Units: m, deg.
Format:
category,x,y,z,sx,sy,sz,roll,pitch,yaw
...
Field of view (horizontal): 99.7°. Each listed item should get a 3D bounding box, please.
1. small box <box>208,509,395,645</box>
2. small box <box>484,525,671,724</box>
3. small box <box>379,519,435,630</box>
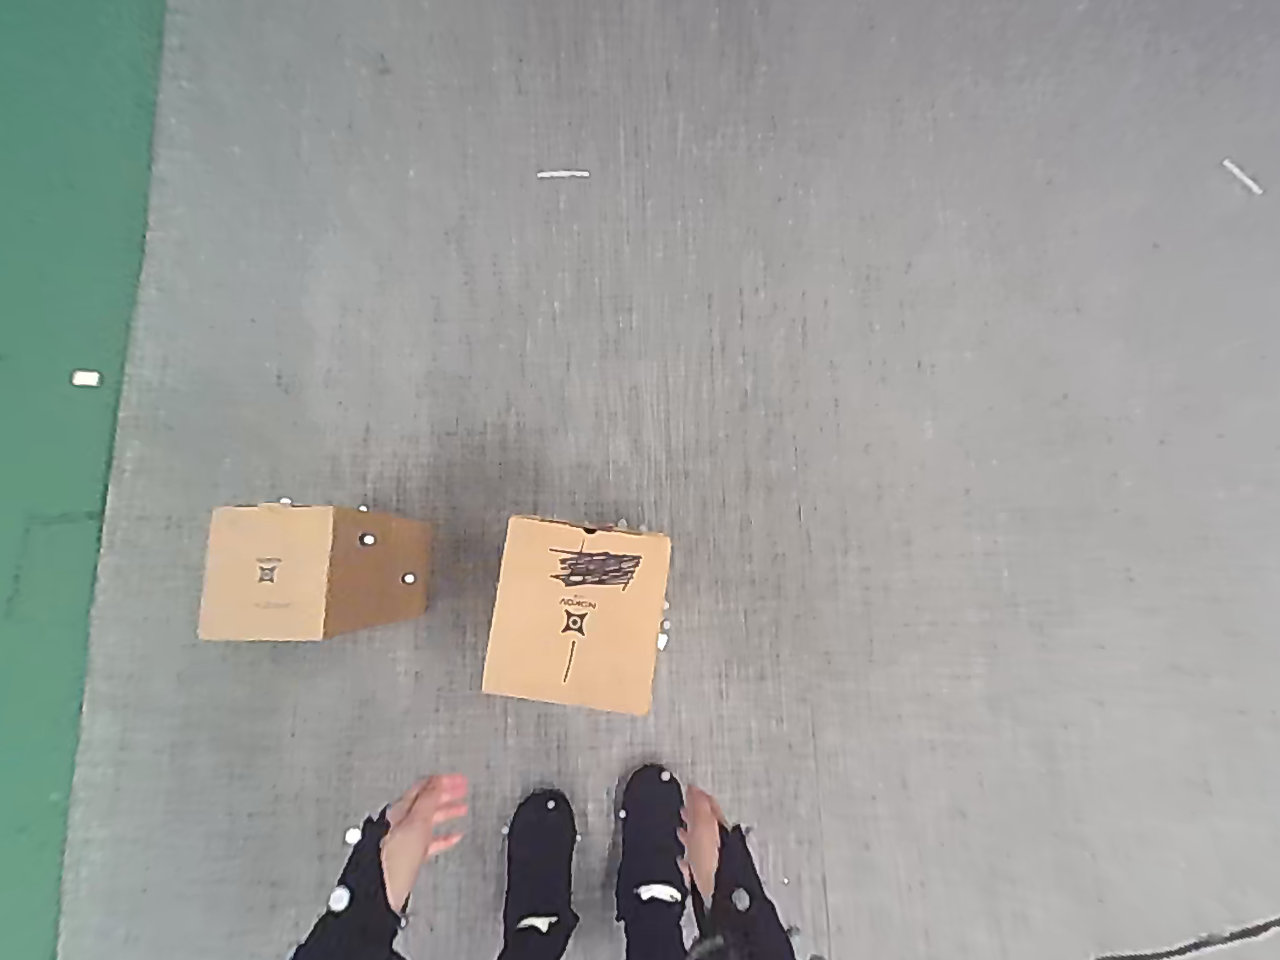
category,x,y,z,sx,sy,sz,roll,pitch,yaw
small box,-0.476,0.136,0.787,0.168,0.176,0.179,-1,83,2
small box,-0.061,0.150,0.615,0.168,0.176,0.179,8,85,2
small box,-0.476,0.156,0.949,0.168,0.176,0.179,3,83,1
